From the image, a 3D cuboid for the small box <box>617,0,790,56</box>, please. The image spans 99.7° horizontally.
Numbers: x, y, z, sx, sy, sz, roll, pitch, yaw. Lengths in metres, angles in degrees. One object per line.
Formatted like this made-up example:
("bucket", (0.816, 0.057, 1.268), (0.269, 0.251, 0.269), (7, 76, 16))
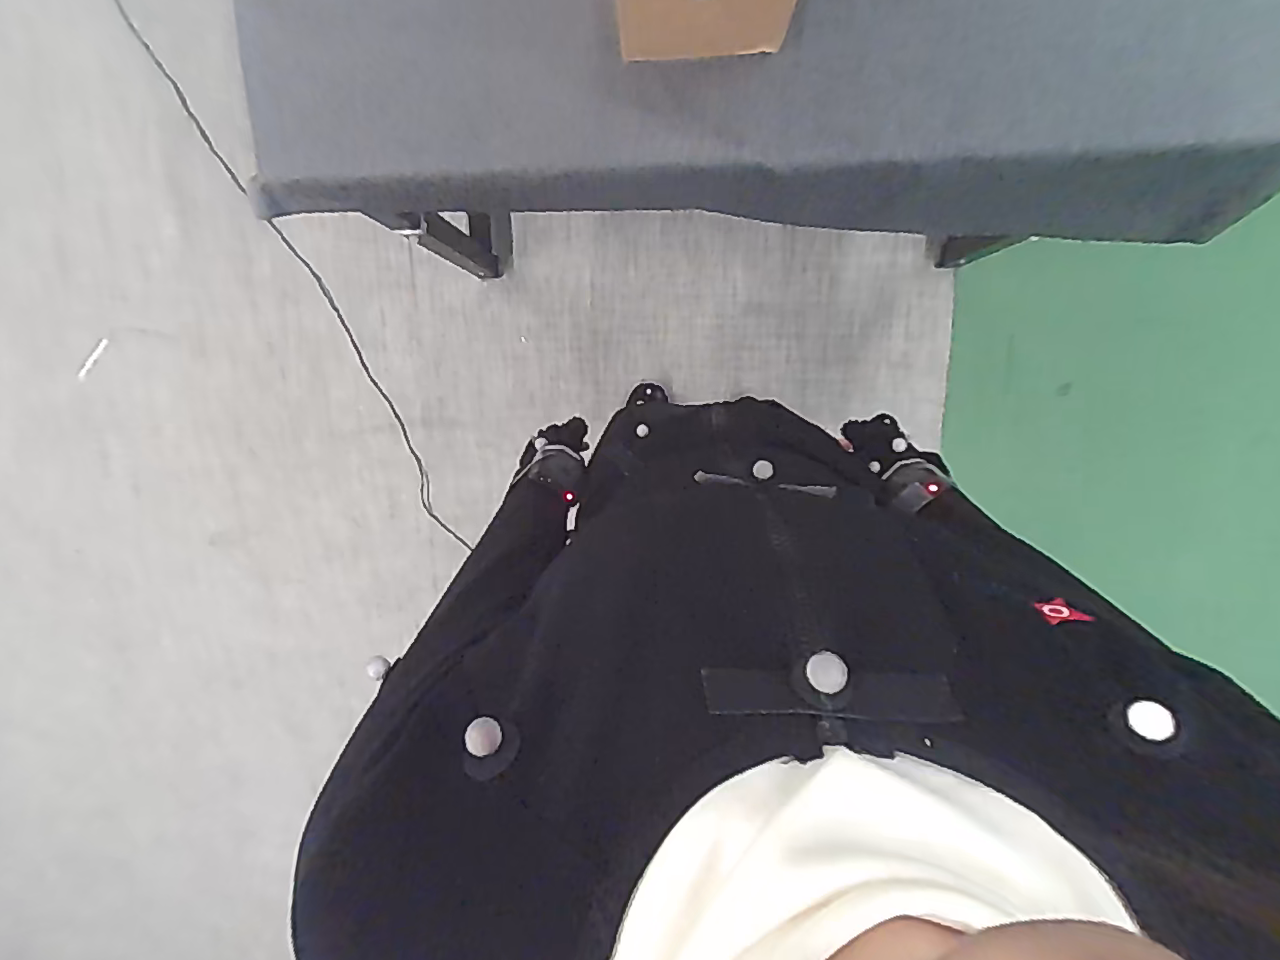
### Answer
("small box", (0.062, -0.538, 0.510), (0.179, 0.176, 0.168), (-2, 101, 2))
